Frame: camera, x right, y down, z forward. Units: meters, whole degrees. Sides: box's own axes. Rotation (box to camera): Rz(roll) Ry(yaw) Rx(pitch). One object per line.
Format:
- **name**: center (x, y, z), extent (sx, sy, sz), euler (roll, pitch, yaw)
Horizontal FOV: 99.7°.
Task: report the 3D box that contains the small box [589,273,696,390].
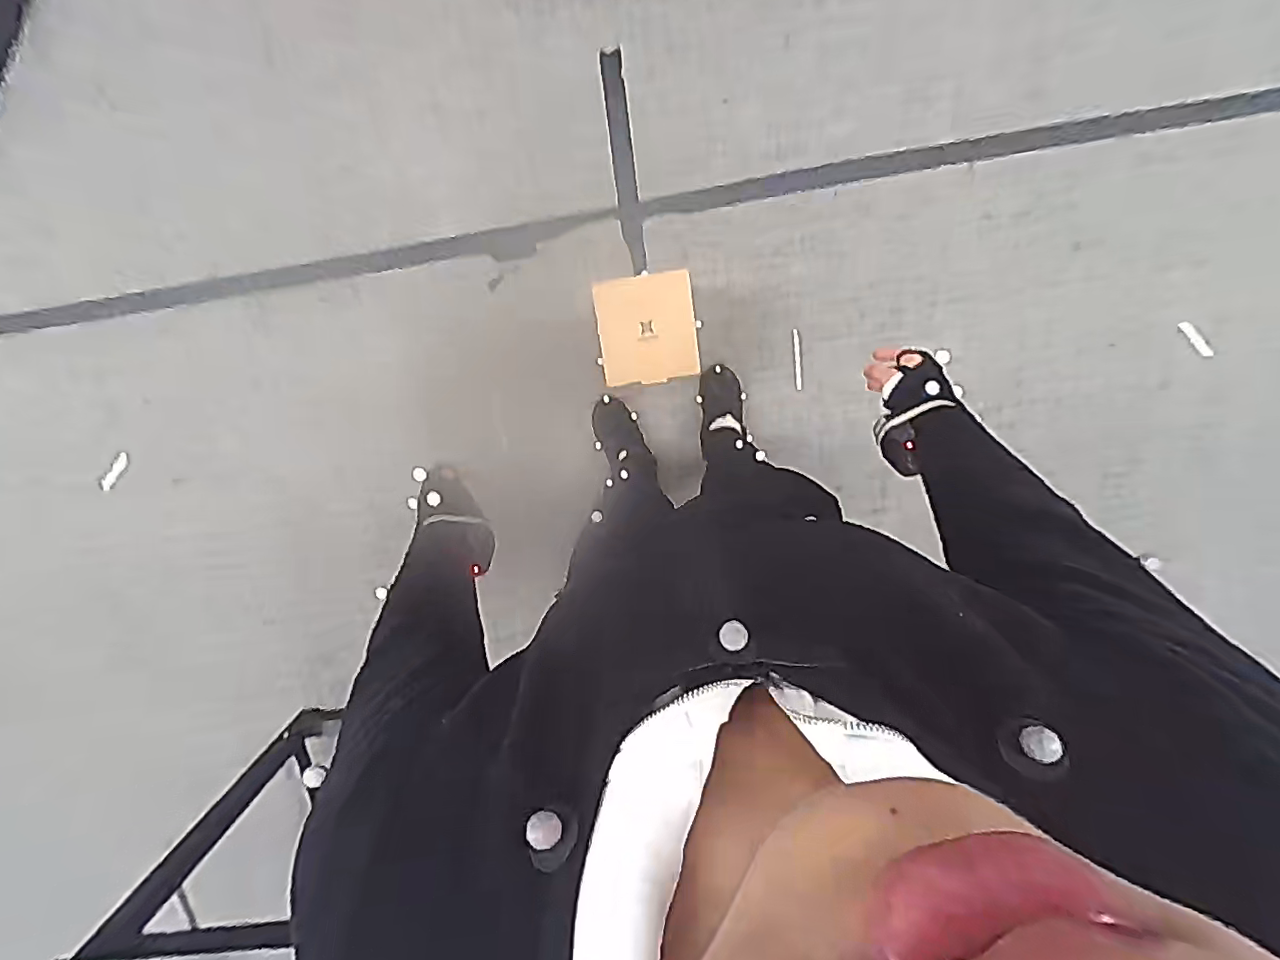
- **small box**: center (0.007, -0.270, 0.994), extent (0.168, 0.176, 0.179), euler (-9, 104, 1)
